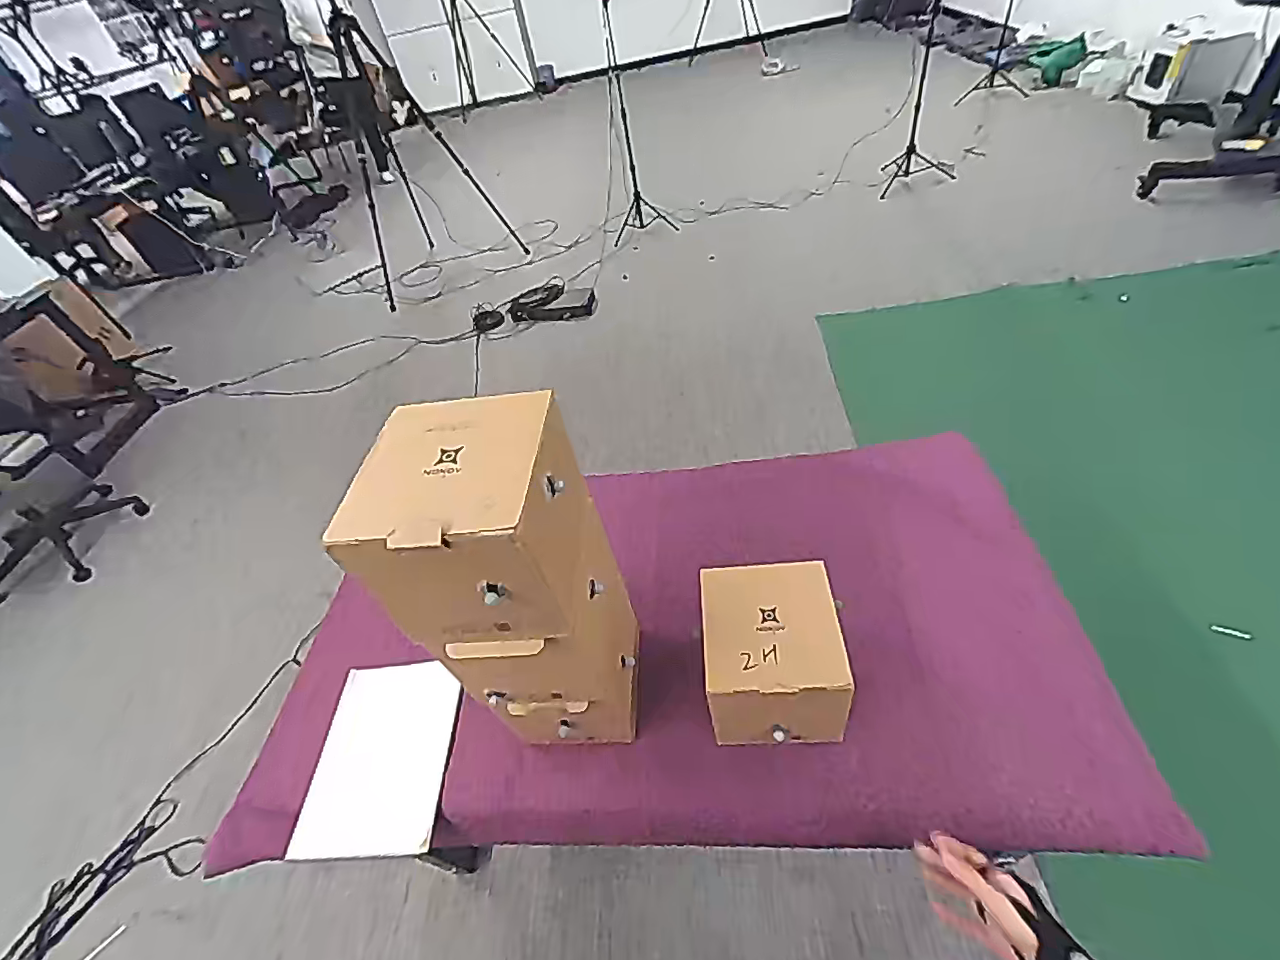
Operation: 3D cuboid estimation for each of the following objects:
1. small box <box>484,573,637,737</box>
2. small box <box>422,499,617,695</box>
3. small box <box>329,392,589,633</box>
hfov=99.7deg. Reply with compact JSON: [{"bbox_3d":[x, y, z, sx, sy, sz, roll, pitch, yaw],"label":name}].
[{"bbox_3d":[-0.099,0.256,0.775,0.168,0.176,0.179,-5,46,8],"label":"small box"},{"bbox_3d":[-0.126,0.147,0.654,0.168,0.176,0.179,-5,45,9],"label":"small box"},{"bbox_3d":[-0.153,0.039,0.535,0.168,0.176,0.179,-4,45,9],"label":"small box"}]
